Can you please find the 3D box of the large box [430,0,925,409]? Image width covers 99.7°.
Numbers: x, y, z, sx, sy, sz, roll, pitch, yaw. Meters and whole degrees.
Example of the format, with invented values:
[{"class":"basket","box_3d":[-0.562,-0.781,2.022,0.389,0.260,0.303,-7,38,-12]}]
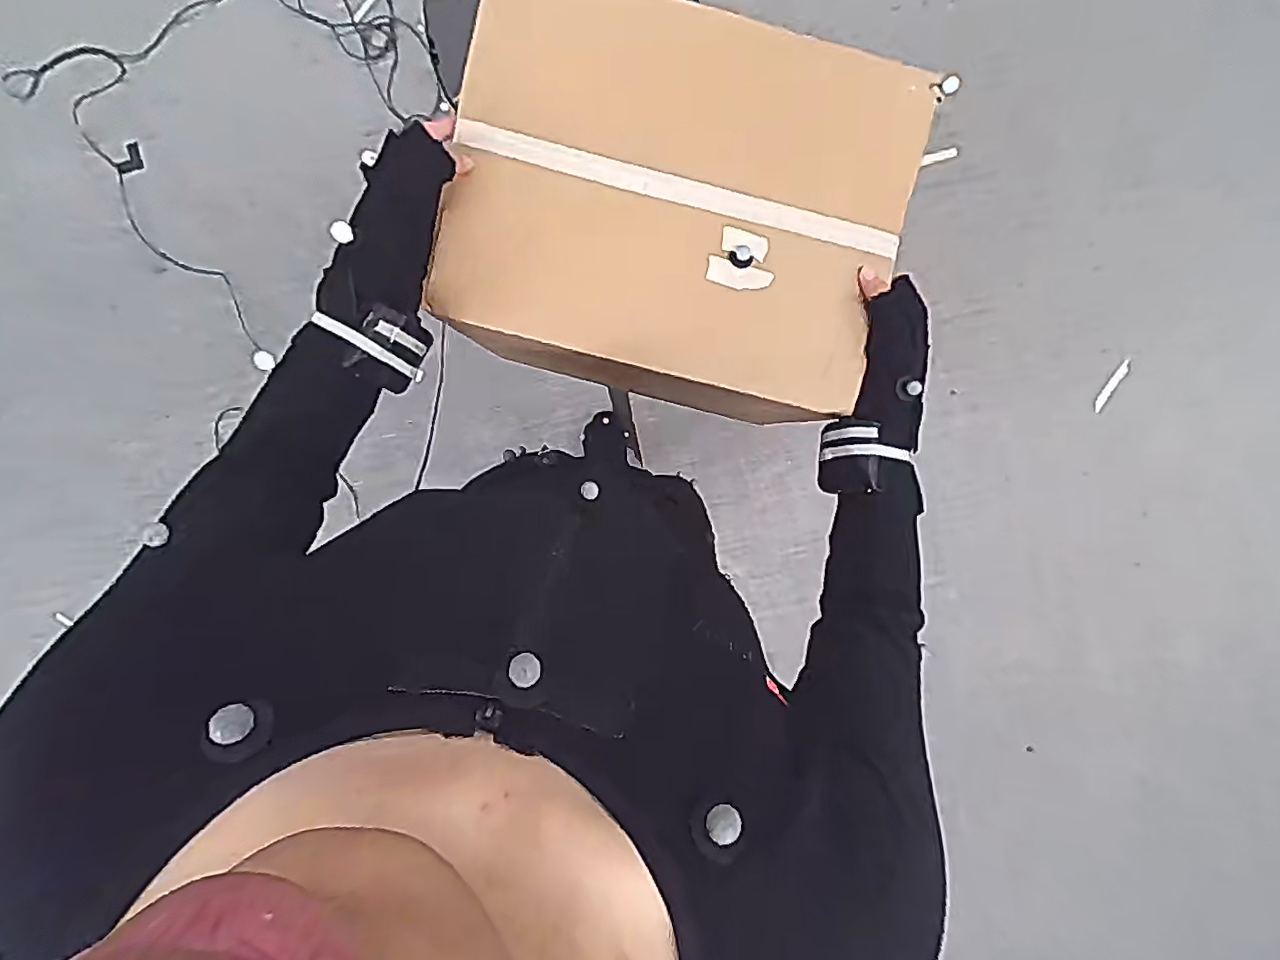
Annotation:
[{"class":"large box","box_3d":[0.026,-0.282,0.635,0.408,0.320,0.320,13,95,-3]}]
